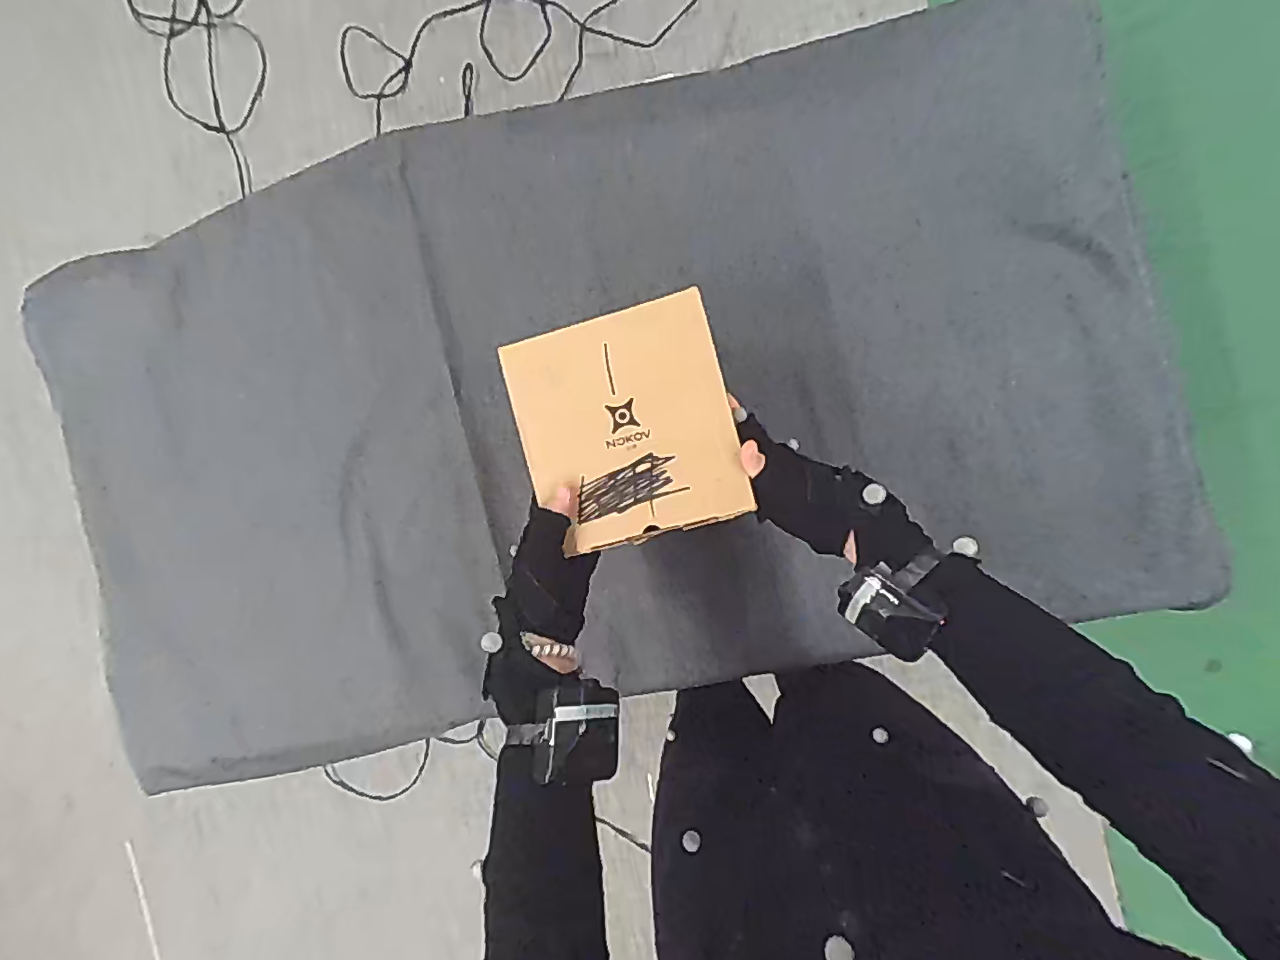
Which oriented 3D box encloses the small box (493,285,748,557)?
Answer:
[{"bbox_3d":[-0.005,-0.047,0.491,0.168,0.176,0.179,-16,91,8],"label":"small box"}]
